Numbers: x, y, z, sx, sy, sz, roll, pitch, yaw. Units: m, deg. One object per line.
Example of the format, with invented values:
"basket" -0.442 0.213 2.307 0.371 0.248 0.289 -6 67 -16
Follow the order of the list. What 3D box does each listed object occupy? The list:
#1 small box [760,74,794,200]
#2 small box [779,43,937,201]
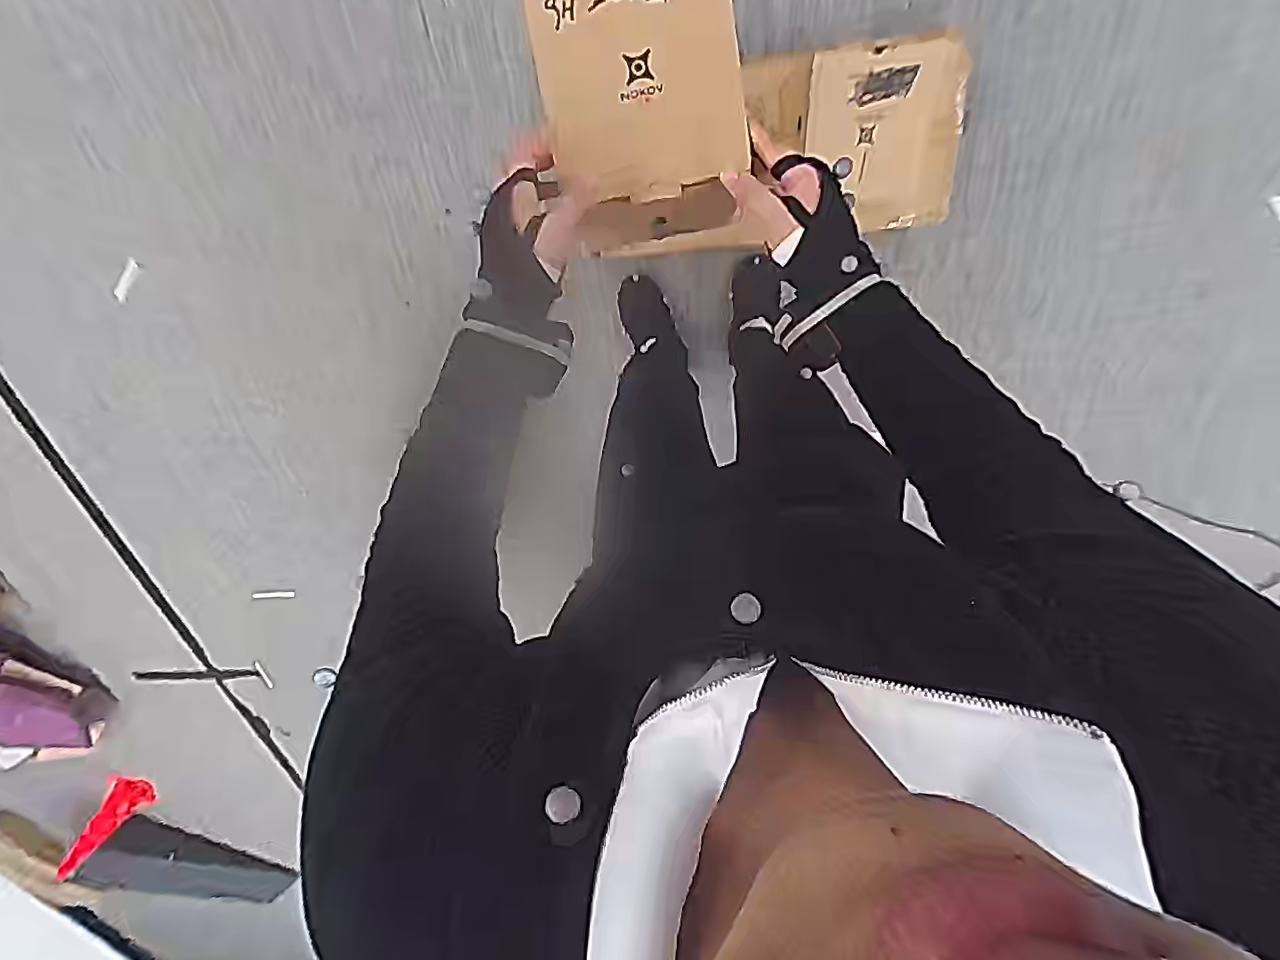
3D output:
"small box" 0.305 -0.599 0.946 0.168 0.176 0.179 -4 120 6
"small box" 0.306 -0.518 0.802 0.168 0.176 0.179 -1 120 4
